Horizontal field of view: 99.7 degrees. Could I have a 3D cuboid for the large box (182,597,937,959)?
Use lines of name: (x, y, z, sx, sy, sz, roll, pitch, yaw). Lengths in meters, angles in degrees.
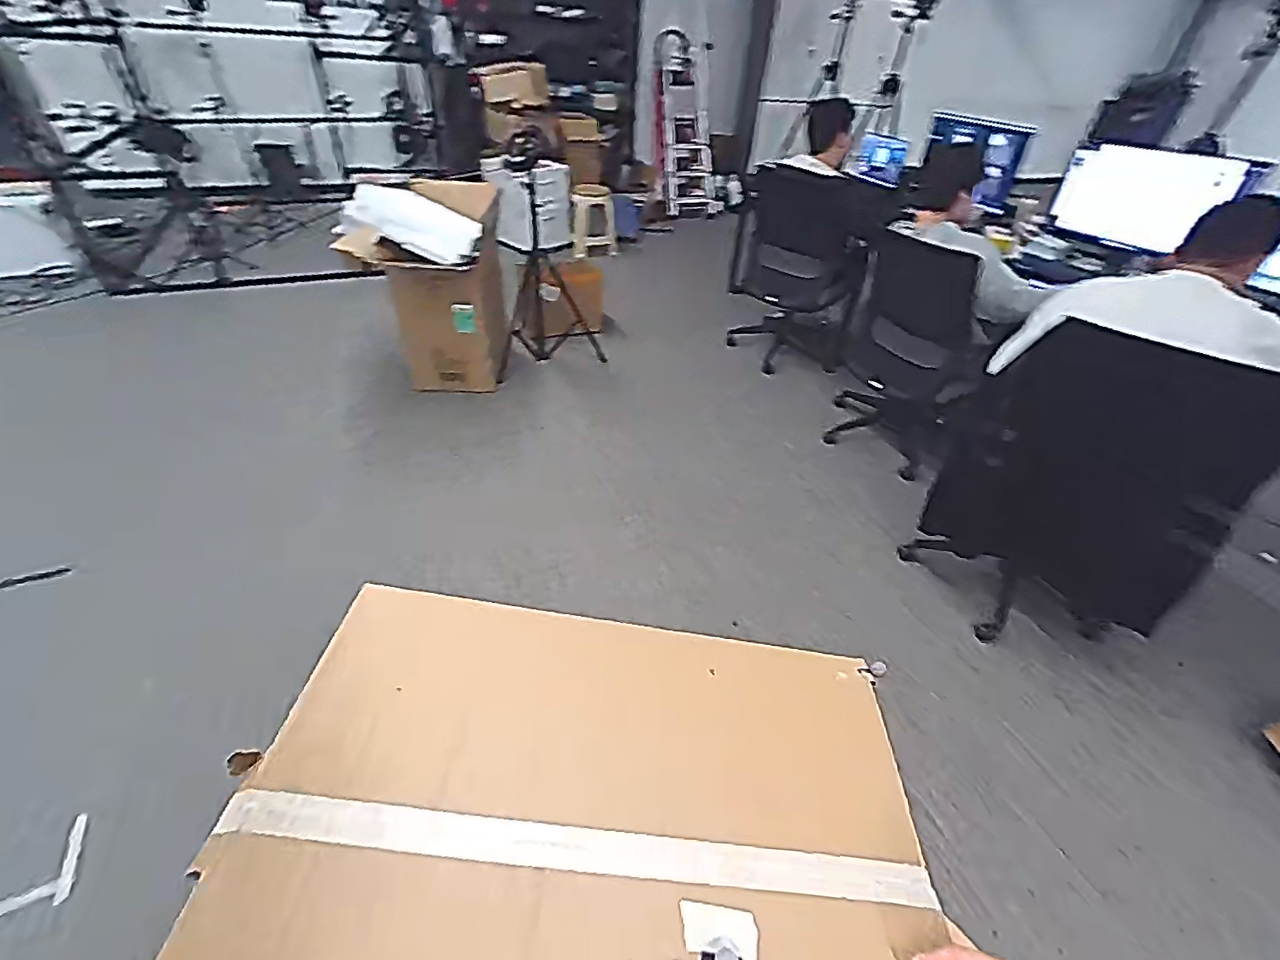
large box: (-0.052, 0.330, 0.418, 0.408, 0.320, 0.320, 10, 41, -6)
